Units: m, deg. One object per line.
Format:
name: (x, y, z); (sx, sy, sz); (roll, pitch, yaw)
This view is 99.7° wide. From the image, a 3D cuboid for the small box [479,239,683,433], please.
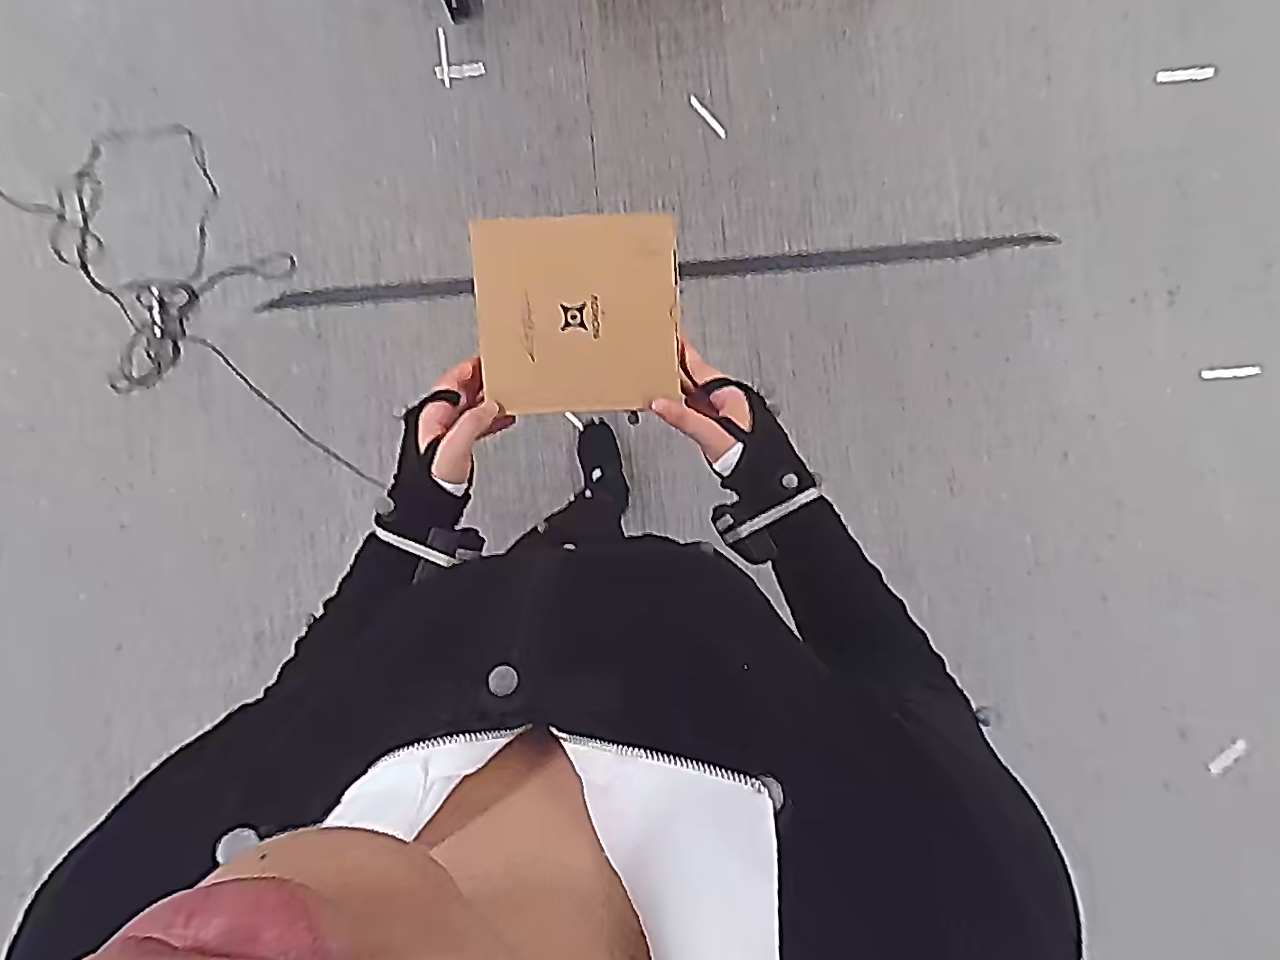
small box: (-0.052, -0.139, 0.565); (0.179, 0.176, 0.168); (-3, 97, 1)
